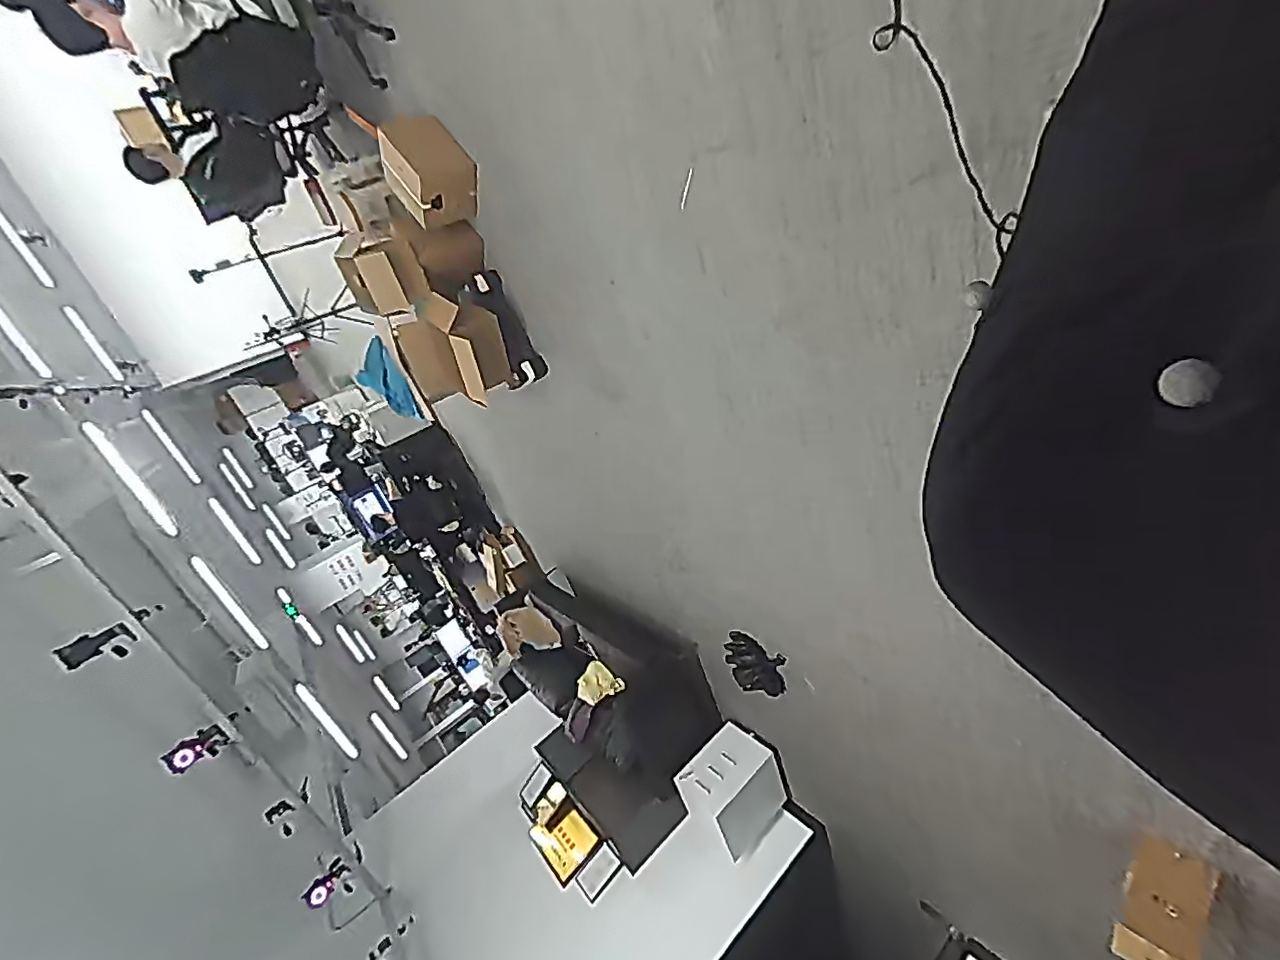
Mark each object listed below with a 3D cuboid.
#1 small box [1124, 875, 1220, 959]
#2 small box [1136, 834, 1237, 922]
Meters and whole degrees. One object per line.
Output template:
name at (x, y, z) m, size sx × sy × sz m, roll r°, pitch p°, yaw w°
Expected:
small box at (1.540, 1.312, 1.565) m, size 0.168 × 0.176 × 0.179 m, roll 14°, pitch 130°, yaw 51°
small box at (1.653, 1.220, 1.639) m, size 0.179 × 0.176 × 0.168 m, roll 17°, pitch 134°, yaw 52°
